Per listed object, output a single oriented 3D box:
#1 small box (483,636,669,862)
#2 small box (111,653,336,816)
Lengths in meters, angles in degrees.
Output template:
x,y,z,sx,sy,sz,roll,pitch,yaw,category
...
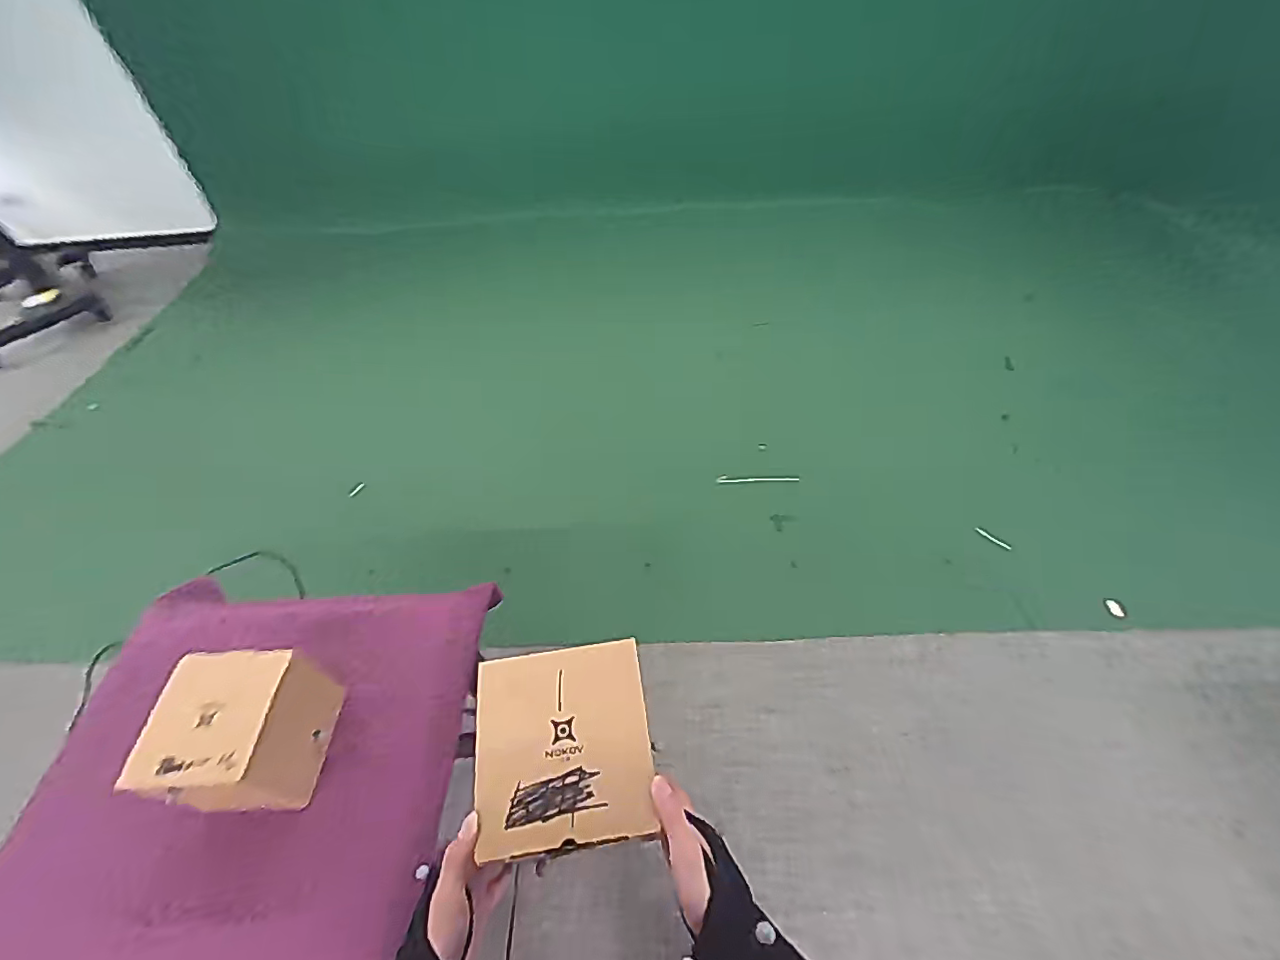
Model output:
x,y,z,sx,sy,sz,roll,pitch,yaw,category
-0.061,0.286,0.573,0.168,0.176,0.179,-7,55,-3,small box
-0.576,0.369,0.784,0.168,0.176,0.179,-3,49,2,small box
